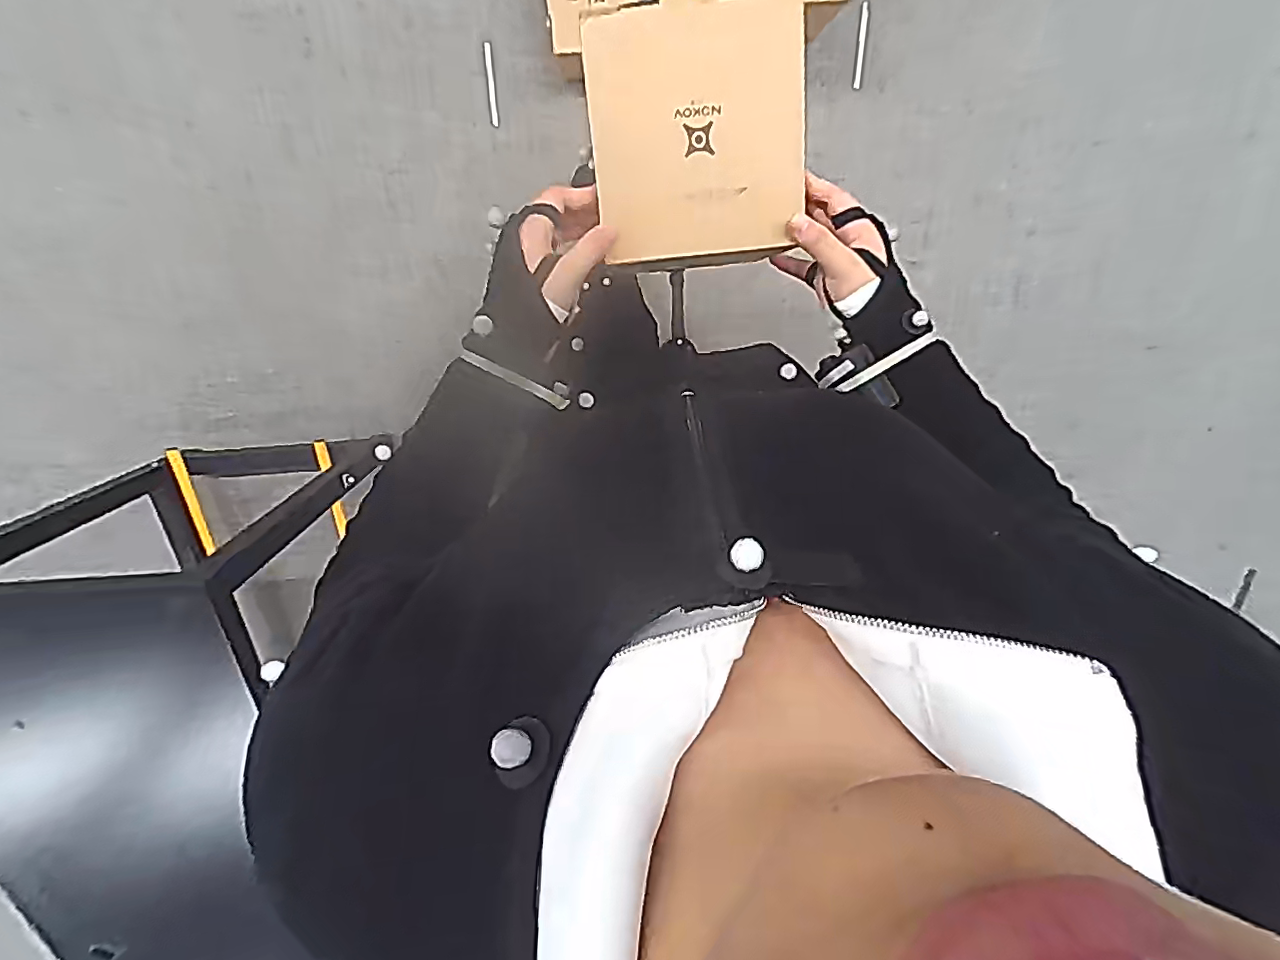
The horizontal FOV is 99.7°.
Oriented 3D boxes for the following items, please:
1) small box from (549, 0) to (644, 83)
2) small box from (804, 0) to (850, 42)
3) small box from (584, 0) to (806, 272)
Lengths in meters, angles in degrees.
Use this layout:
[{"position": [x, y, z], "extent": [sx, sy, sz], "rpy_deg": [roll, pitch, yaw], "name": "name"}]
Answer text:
[{"position": [-0.083, -0.907, 1.061], "extent": [0.179, 0.176, 0.168], "rpy_deg": [-5, 112, 0], "name": "small box"}, {"position": [0.247, -0.867, 0.915], "extent": [0.179, 0.176, 0.168], "rpy_deg": [-3, 113, -2], "name": "small box"}, {"position": [0.043, -0.292, 0.492], "extent": [0.168, 0.176, 0.179], "rpy_deg": [-6, 109, 0], "name": "small box"}]
